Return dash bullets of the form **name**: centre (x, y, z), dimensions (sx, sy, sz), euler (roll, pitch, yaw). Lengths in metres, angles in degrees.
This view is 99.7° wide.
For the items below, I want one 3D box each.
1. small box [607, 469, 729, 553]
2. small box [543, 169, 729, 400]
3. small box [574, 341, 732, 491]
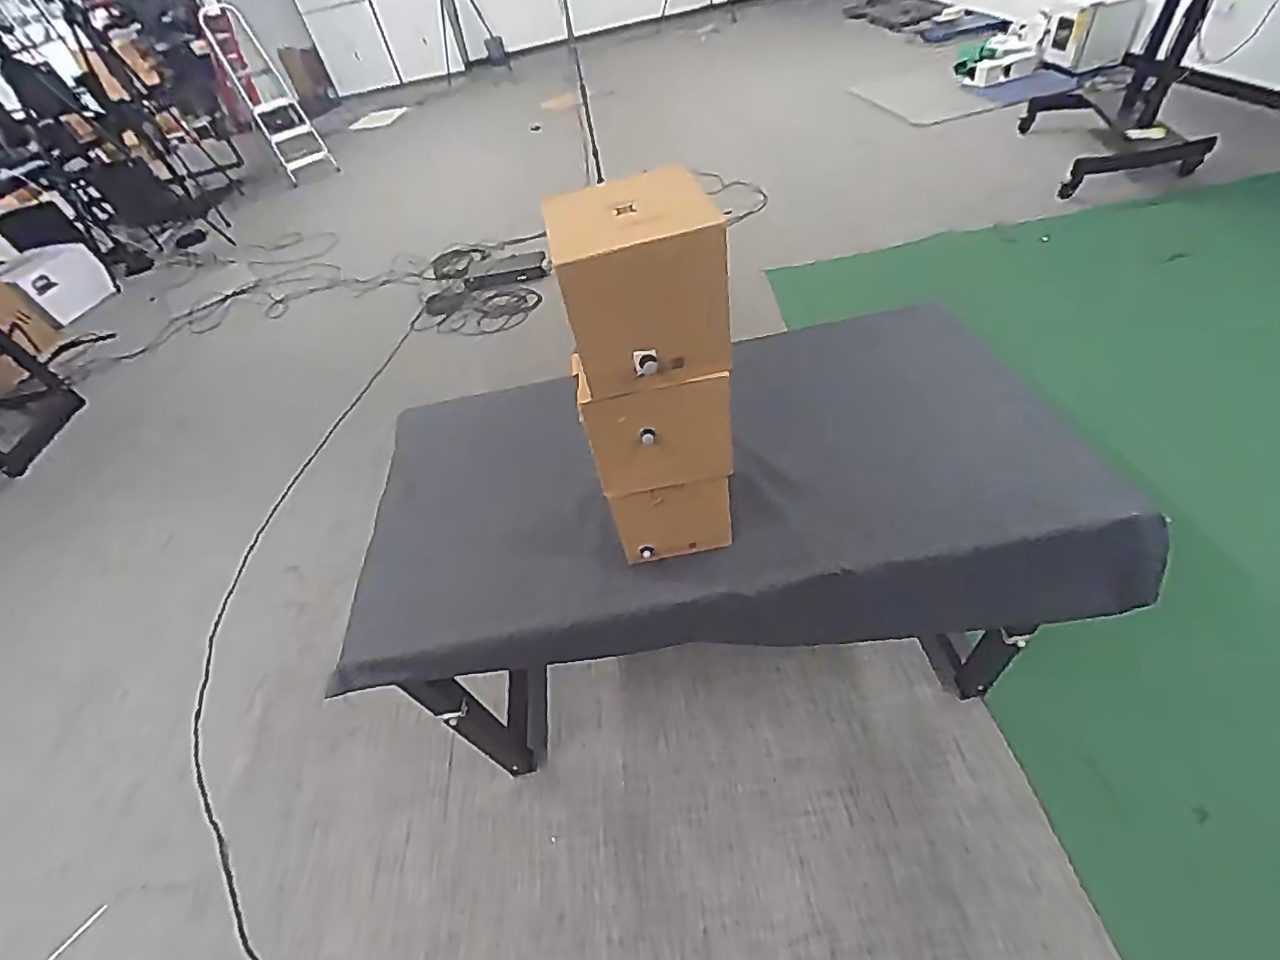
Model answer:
- **small box**: centre (0.042, -0.001, 0.852), dimensions (0.168, 0.176, 0.179), euler (-11, 46, 2)
- **small box**: centre (-0.004, -0.220, 0.615), dimensions (0.168, 0.176, 0.179), euler (-16, 48, 0)
- **small box**: centre (0.019, -0.106, 0.732), dimensions (0.179, 0.176, 0.168), euler (-12, 45, 0)
